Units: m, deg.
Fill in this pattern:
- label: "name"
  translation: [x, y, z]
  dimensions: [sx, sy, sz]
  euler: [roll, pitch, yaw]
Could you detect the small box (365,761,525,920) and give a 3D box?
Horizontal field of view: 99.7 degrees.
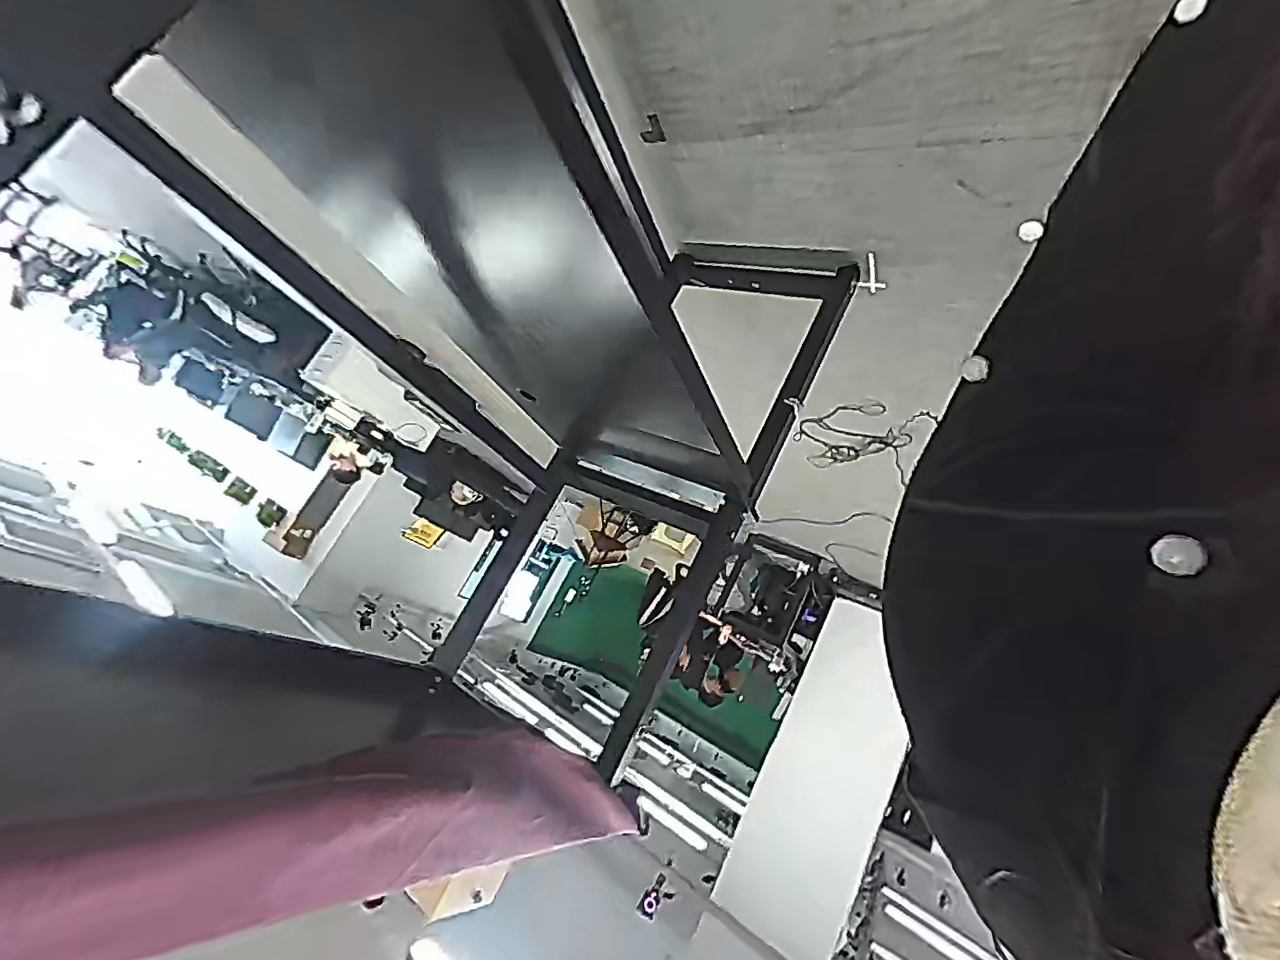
- label: "small box"
  translation: [-0.344, 0.633, 0.979]
  dimensions: [0.179, 0.176, 0.168]
  euler: [20, 164, 33]
